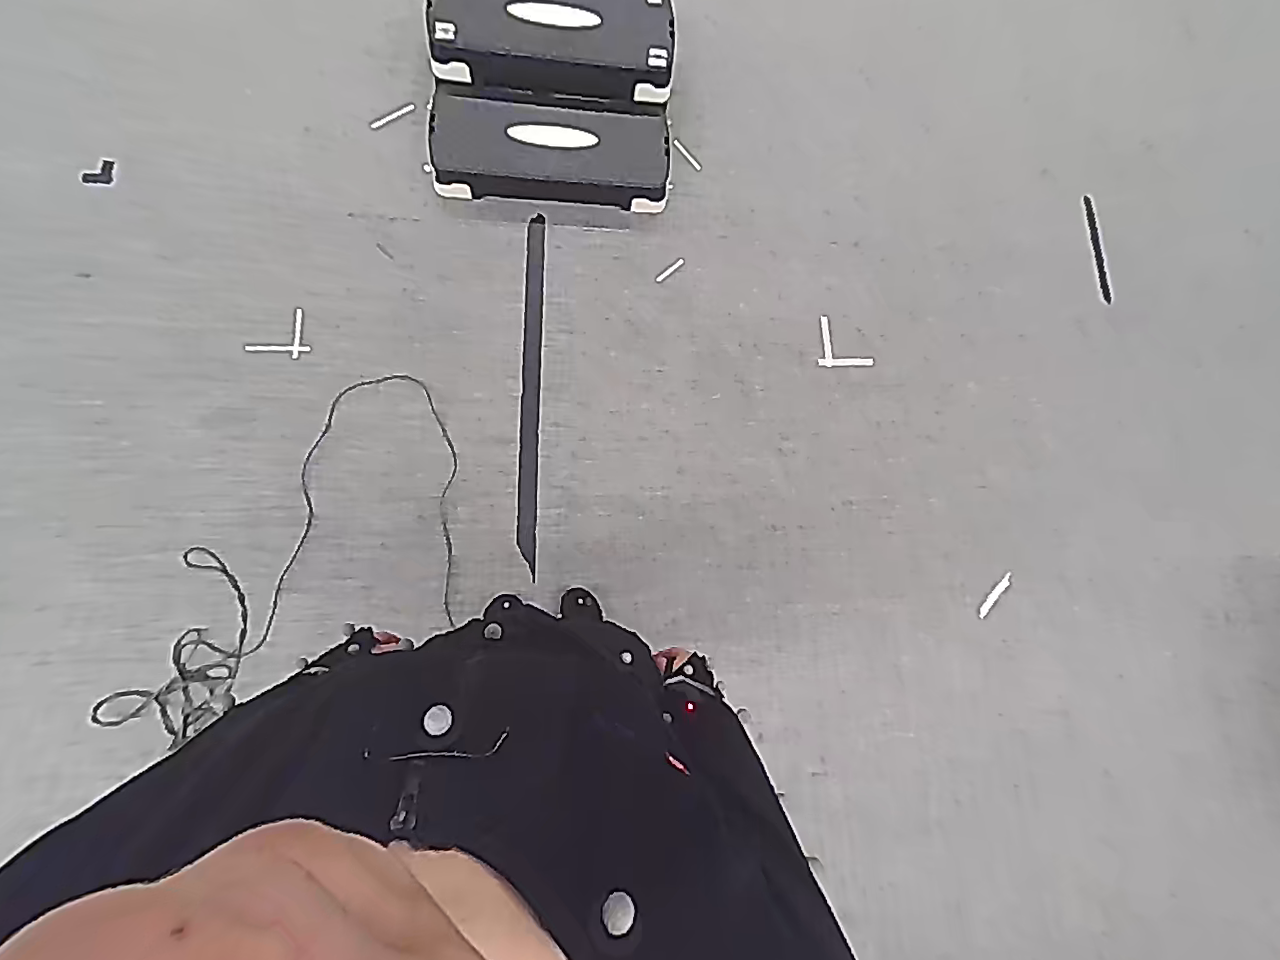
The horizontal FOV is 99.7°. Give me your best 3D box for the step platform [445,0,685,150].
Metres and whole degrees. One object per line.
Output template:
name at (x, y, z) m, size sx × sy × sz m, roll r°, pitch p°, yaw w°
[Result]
step platform at (-0.209, -1.200, 1.583) m, size 0.684 × 0.204 × 0.286 m, roll 5°, pitch 78°, yaw -7°
